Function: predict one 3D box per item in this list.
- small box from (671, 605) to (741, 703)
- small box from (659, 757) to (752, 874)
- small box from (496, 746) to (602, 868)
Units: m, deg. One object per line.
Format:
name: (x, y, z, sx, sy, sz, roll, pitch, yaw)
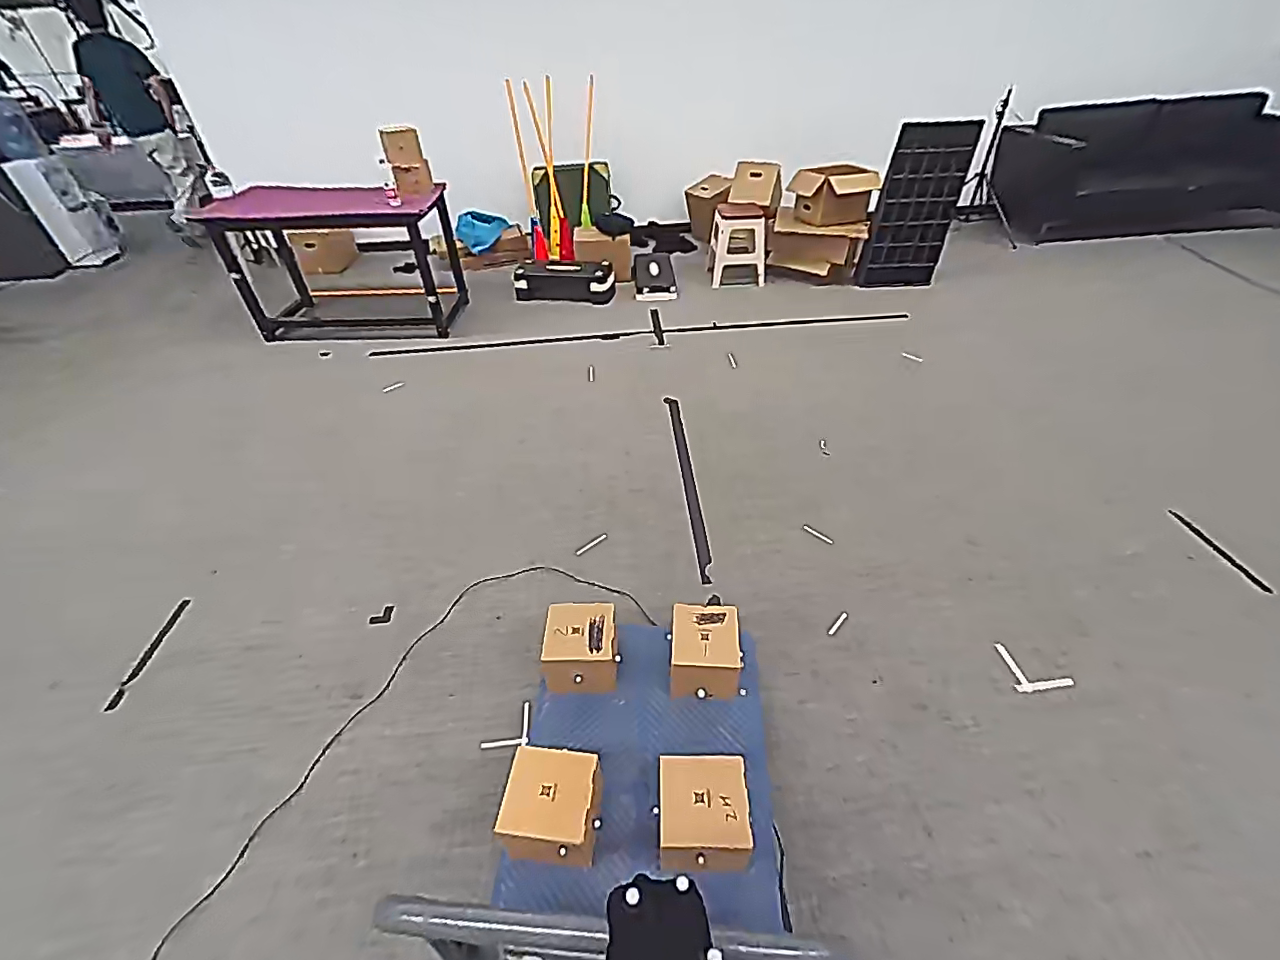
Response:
small box: (0.167, 0.446, 1.393, 0.168, 0.176, 0.179, 2, 42, 5)
small box: (0.129, 0.691, 1.113, 0.179, 0.176, 0.168, 0, 41, 2)
small box: (-0.181, 0.686, 1.133, 0.179, 0.176, 0.168, 4, 41, 5)
